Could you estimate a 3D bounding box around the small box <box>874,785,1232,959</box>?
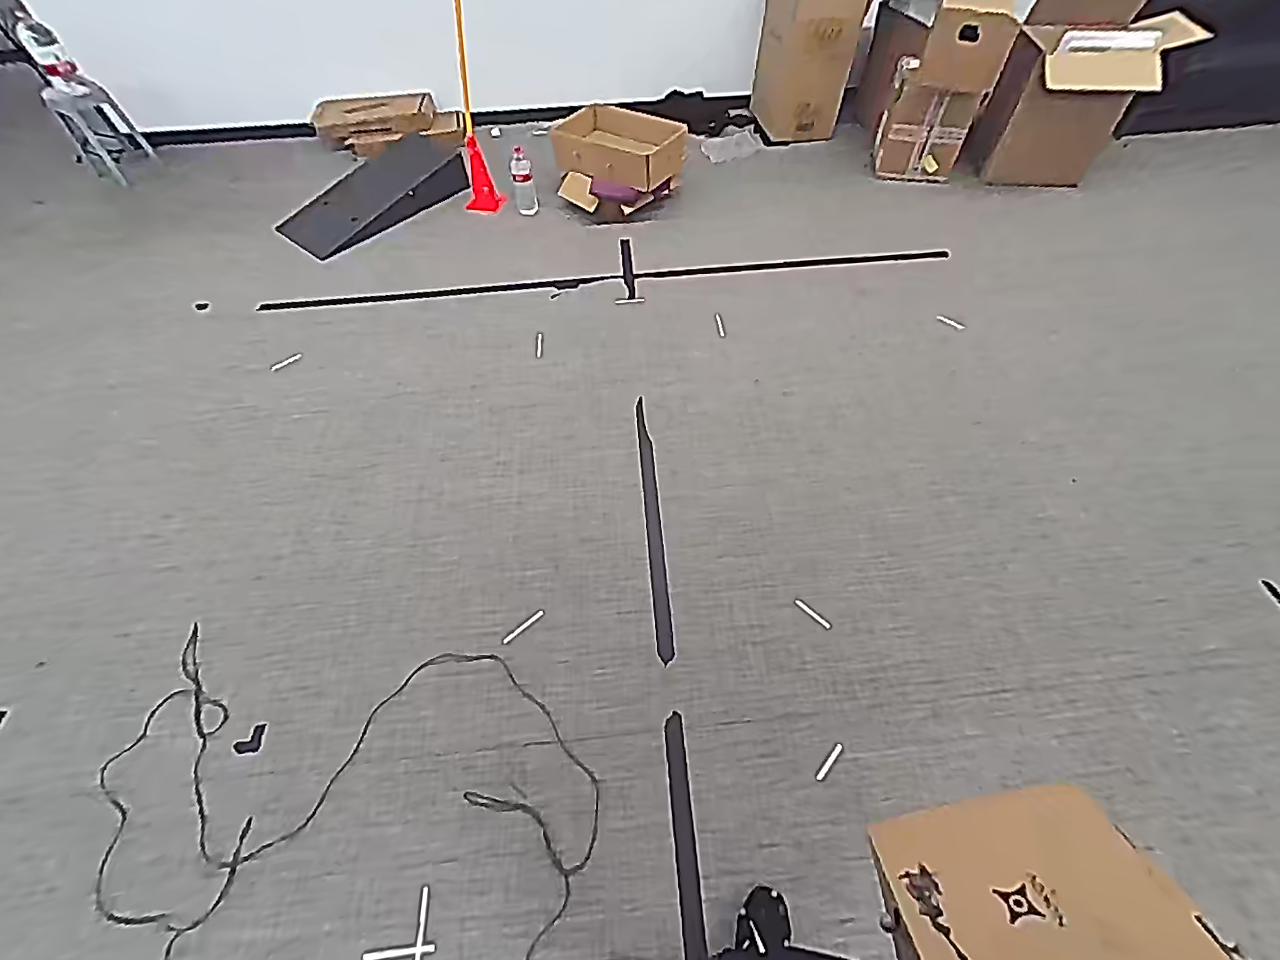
[{"bbox_3d":[0.304,0.376,0.407,0.179,0.176,0.168,-16,15,6],"label":"small box"}]
